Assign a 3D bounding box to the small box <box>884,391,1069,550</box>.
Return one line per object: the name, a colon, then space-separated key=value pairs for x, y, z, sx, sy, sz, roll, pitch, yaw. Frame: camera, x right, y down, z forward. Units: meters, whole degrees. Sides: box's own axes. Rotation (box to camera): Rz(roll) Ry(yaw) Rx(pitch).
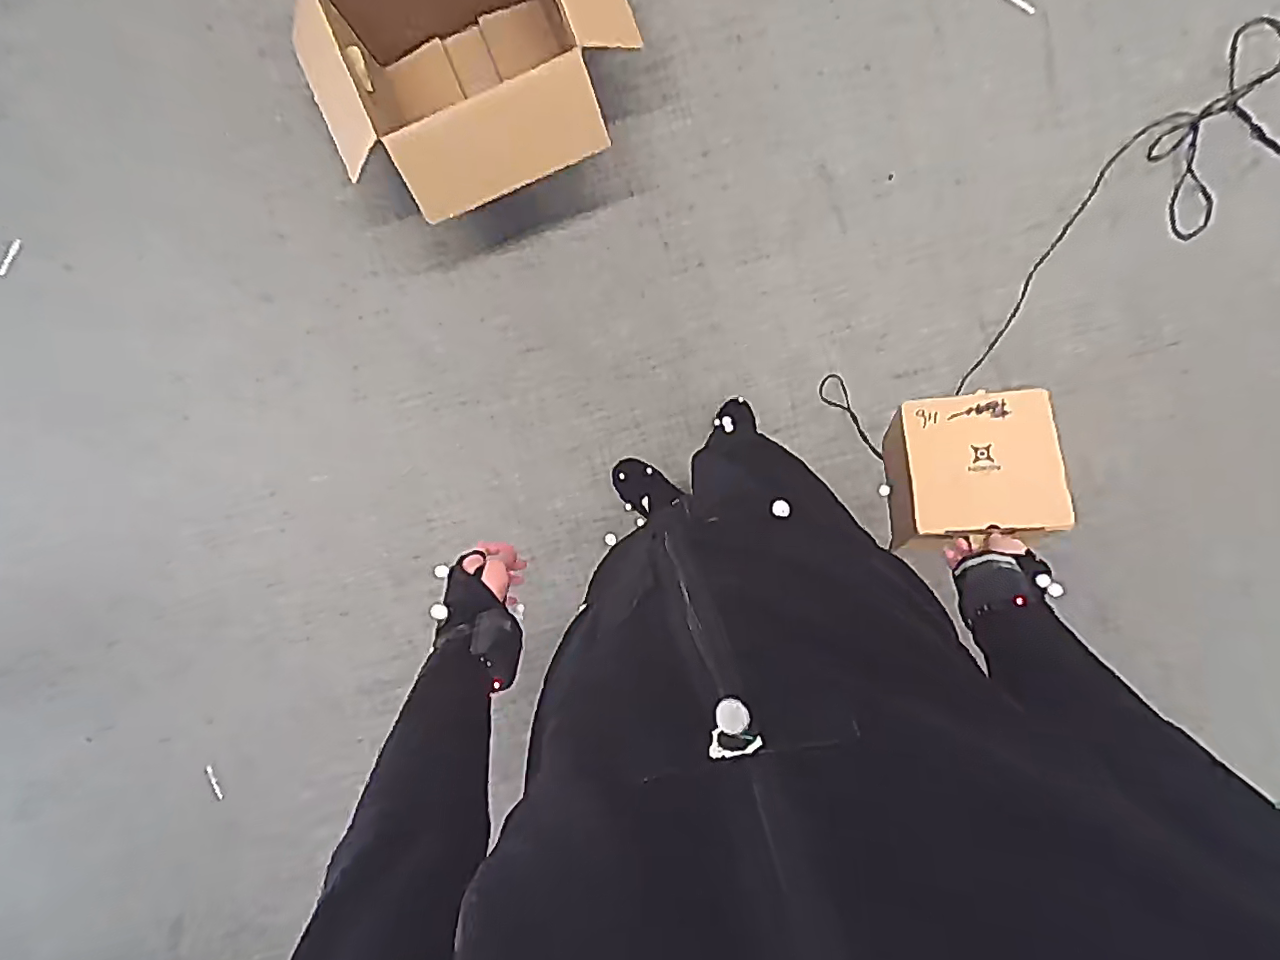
small box: x=0.434 y=0.000 z=0.729 sx=0.168 sy=0.176 sz=0.179 roll=-3 pitch=73 yaw=15
